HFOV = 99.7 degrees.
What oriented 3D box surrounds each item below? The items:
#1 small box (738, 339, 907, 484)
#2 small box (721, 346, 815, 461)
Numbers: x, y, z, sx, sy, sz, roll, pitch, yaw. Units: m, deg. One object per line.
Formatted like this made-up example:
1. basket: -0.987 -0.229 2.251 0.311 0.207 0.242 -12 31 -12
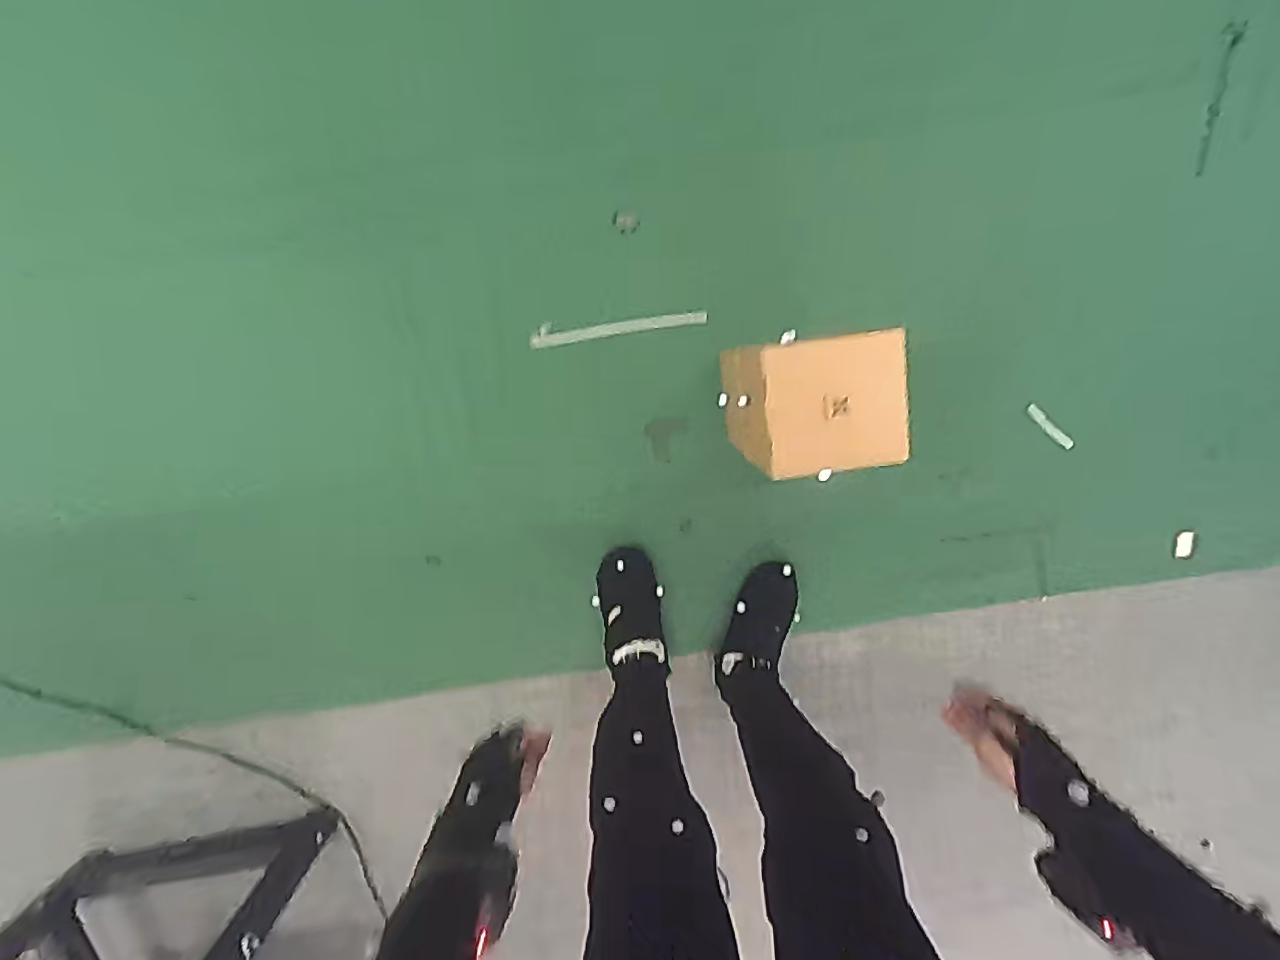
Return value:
1. small box: 0.245 -0.101 0.755 0.179 0.176 0.168 -8 101 2
2. small box: 0.243 -0.135 0.914 0.179 0.176 0.168 -7 101 1
